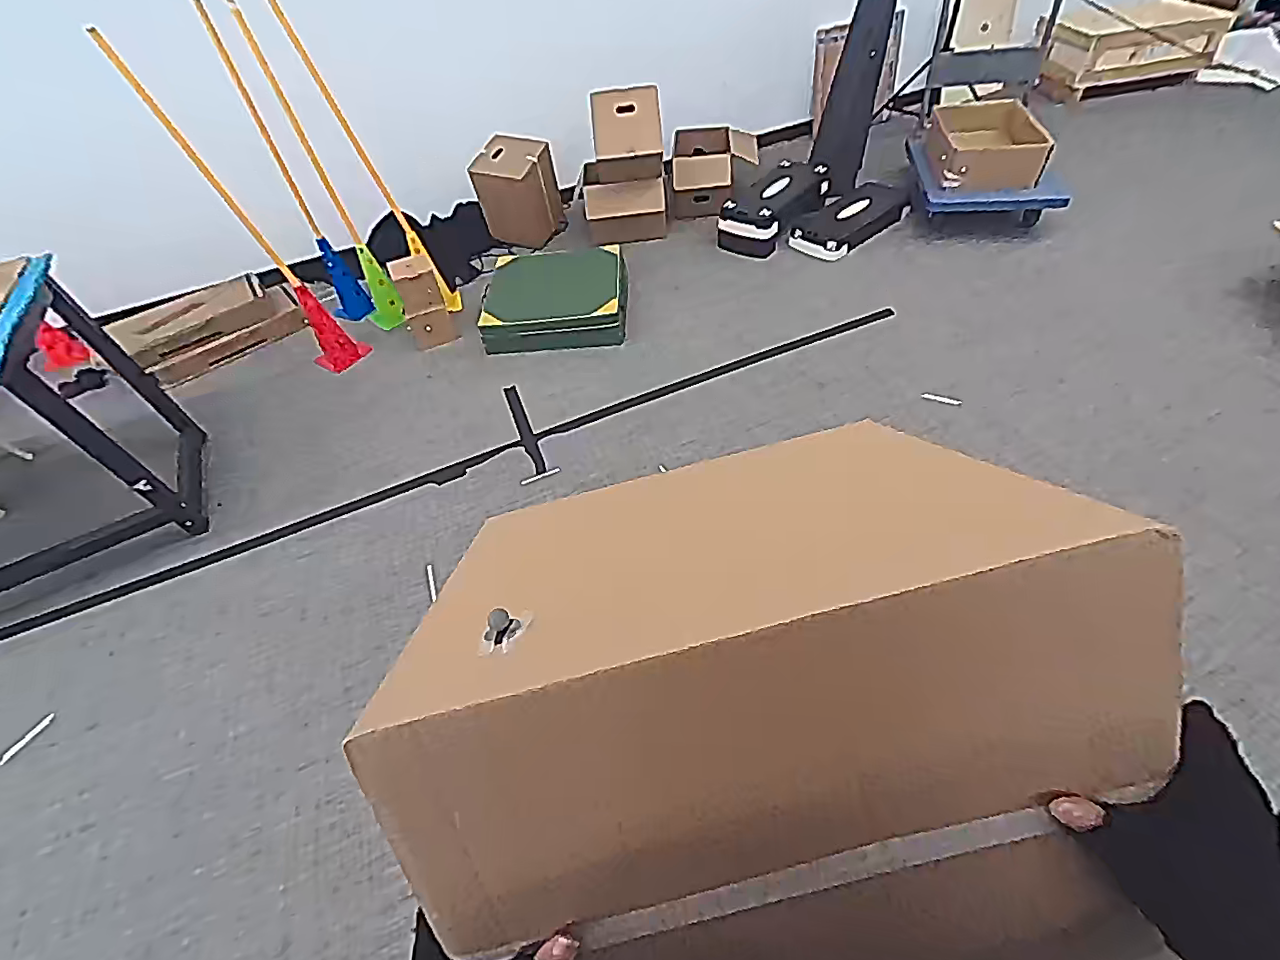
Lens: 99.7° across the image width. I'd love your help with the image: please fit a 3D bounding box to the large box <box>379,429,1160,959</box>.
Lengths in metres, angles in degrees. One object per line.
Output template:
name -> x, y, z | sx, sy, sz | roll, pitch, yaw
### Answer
large box -> 0.086, 0.175, 0.451 | 0.408, 0.320, 0.320 | -15, 16, 1
